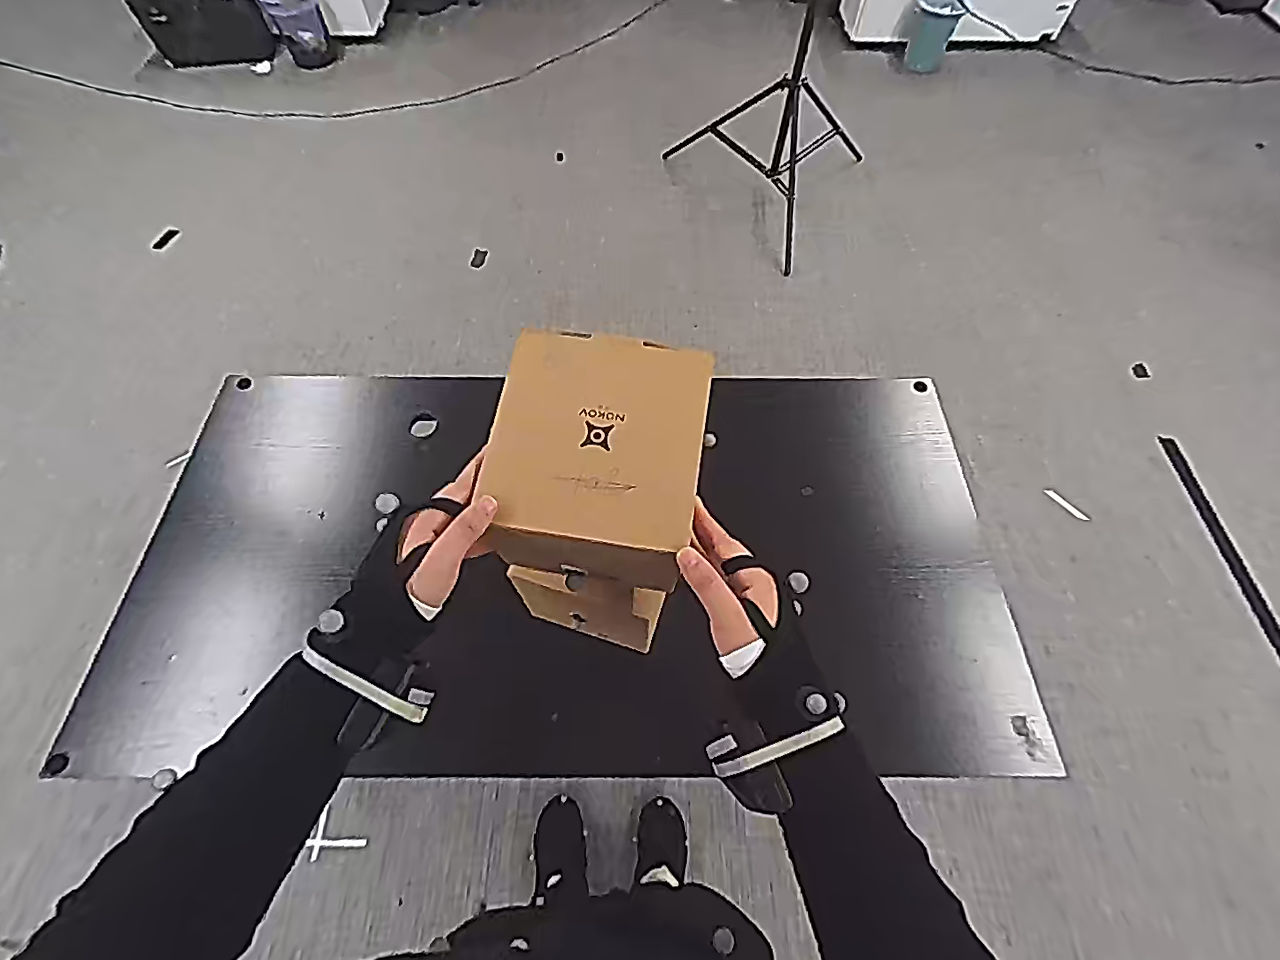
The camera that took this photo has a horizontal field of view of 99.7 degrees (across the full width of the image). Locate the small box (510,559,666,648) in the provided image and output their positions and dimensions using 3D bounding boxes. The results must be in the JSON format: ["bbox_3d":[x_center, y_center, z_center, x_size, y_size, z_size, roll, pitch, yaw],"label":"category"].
[{"bbox_3d":[-0.042,0.097,0.696,0.168,0.176,0.179,16,61,8],"label":"small box"}]

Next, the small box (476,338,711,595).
[{"bbox_3d":[-0.034,-0.003,0.510,0.168,0.176,0.179,8,68,3],"label":"small box"}]
